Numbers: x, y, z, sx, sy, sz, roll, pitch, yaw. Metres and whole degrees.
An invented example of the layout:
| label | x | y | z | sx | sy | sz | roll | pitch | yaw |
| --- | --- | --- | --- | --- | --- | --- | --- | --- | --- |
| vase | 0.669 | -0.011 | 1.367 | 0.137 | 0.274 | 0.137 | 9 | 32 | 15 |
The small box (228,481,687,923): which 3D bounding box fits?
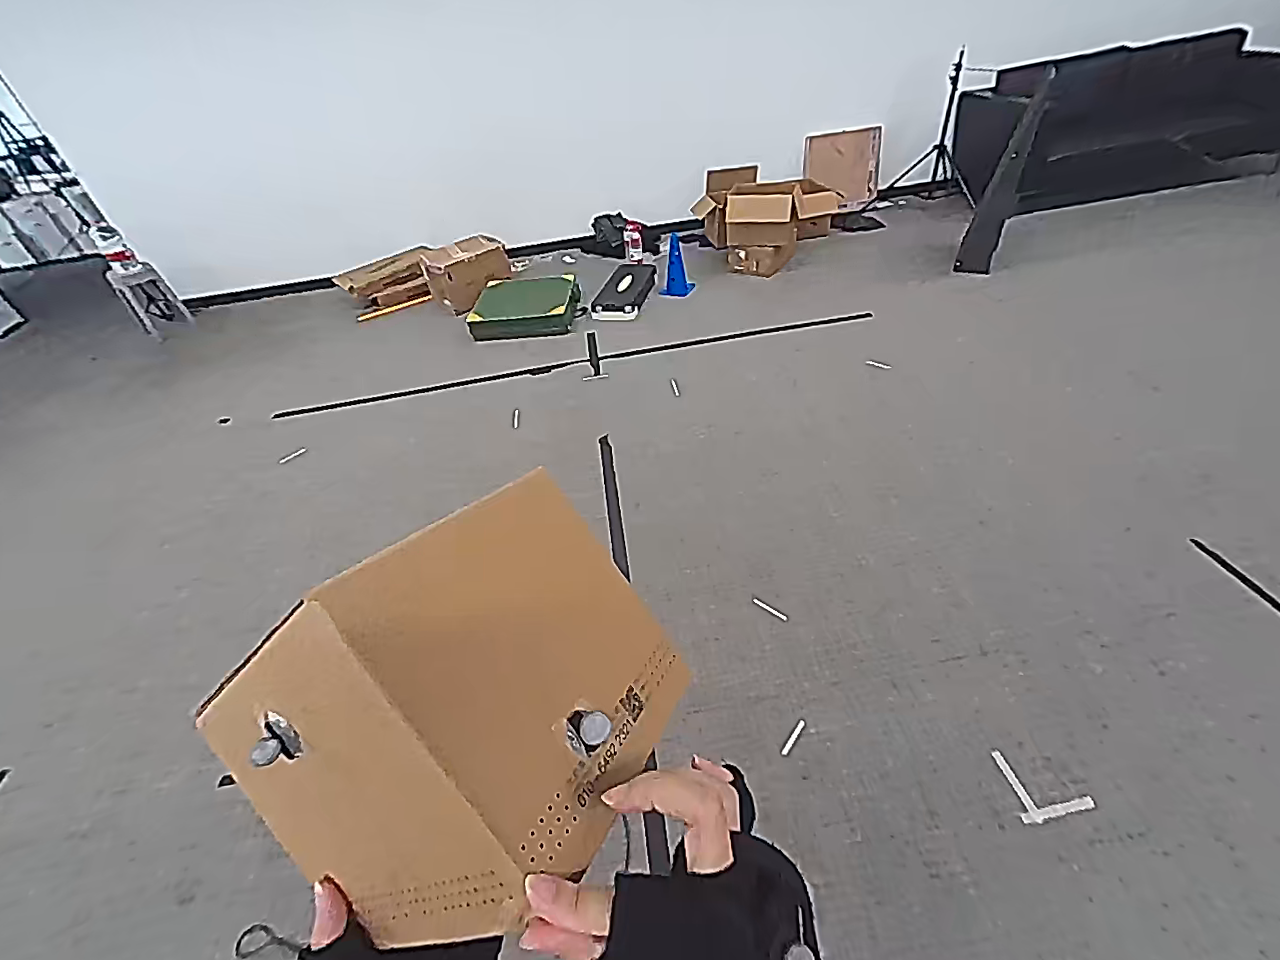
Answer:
| label | x | y | z | sx | sy | sz | roll | pitch | yaw |
| --- | --- | --- | --- | --- | --- | --- | --- | --- | --- |
| small box | -0.104 | 0.134 | 0.340 | 0.179 | 0.176 | 0.168 | -36 | 1 | 32 |
